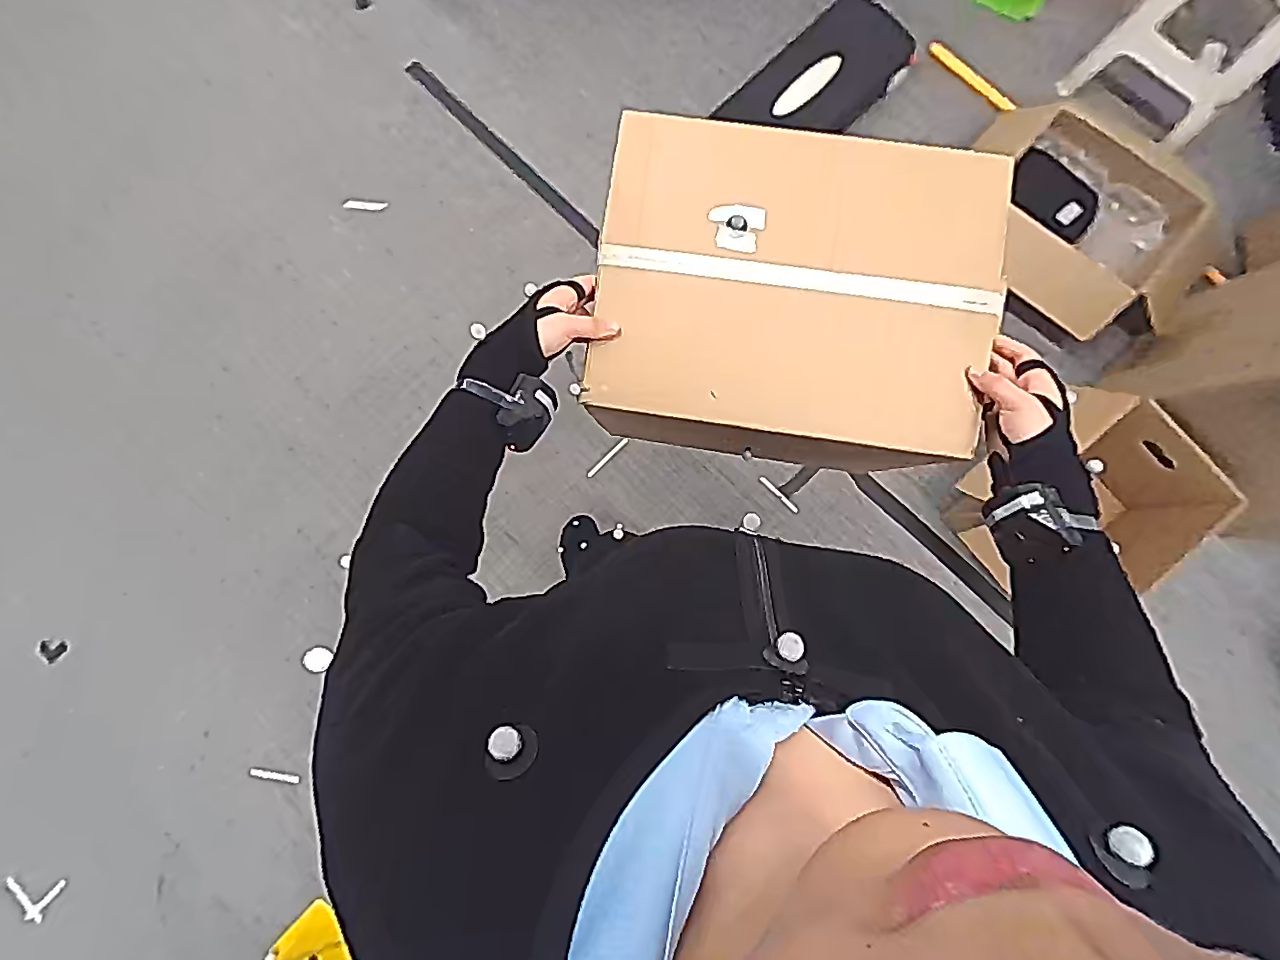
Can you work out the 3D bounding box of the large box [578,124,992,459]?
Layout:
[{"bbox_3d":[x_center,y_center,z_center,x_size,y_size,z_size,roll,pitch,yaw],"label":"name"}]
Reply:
[{"bbox_3d":[0.159,-0.205,0.712,0.408,0.320,0.320,8,88,4],"label":"large box"}]
